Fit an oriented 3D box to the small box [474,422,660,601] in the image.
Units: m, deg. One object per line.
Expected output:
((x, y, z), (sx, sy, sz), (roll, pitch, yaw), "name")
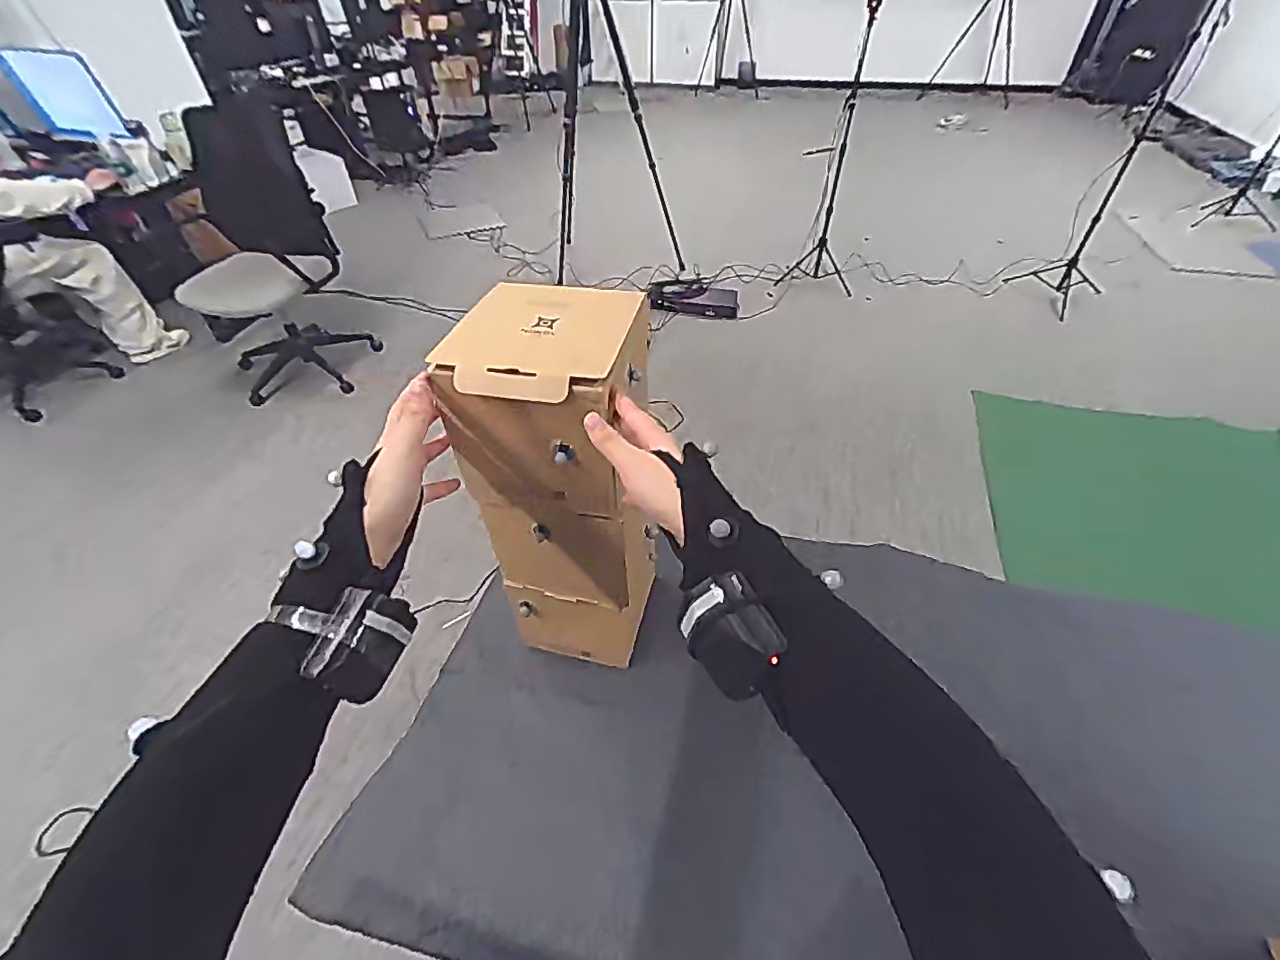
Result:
((-0.077, 0.032, 0.686), (0.179, 0.176, 0.168), (10, 48, 12), "small box")

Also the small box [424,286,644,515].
((-0.090, -0.084, 0.571), (0.168, 0.176, 0.179), (7, 45, 9), "small box")
